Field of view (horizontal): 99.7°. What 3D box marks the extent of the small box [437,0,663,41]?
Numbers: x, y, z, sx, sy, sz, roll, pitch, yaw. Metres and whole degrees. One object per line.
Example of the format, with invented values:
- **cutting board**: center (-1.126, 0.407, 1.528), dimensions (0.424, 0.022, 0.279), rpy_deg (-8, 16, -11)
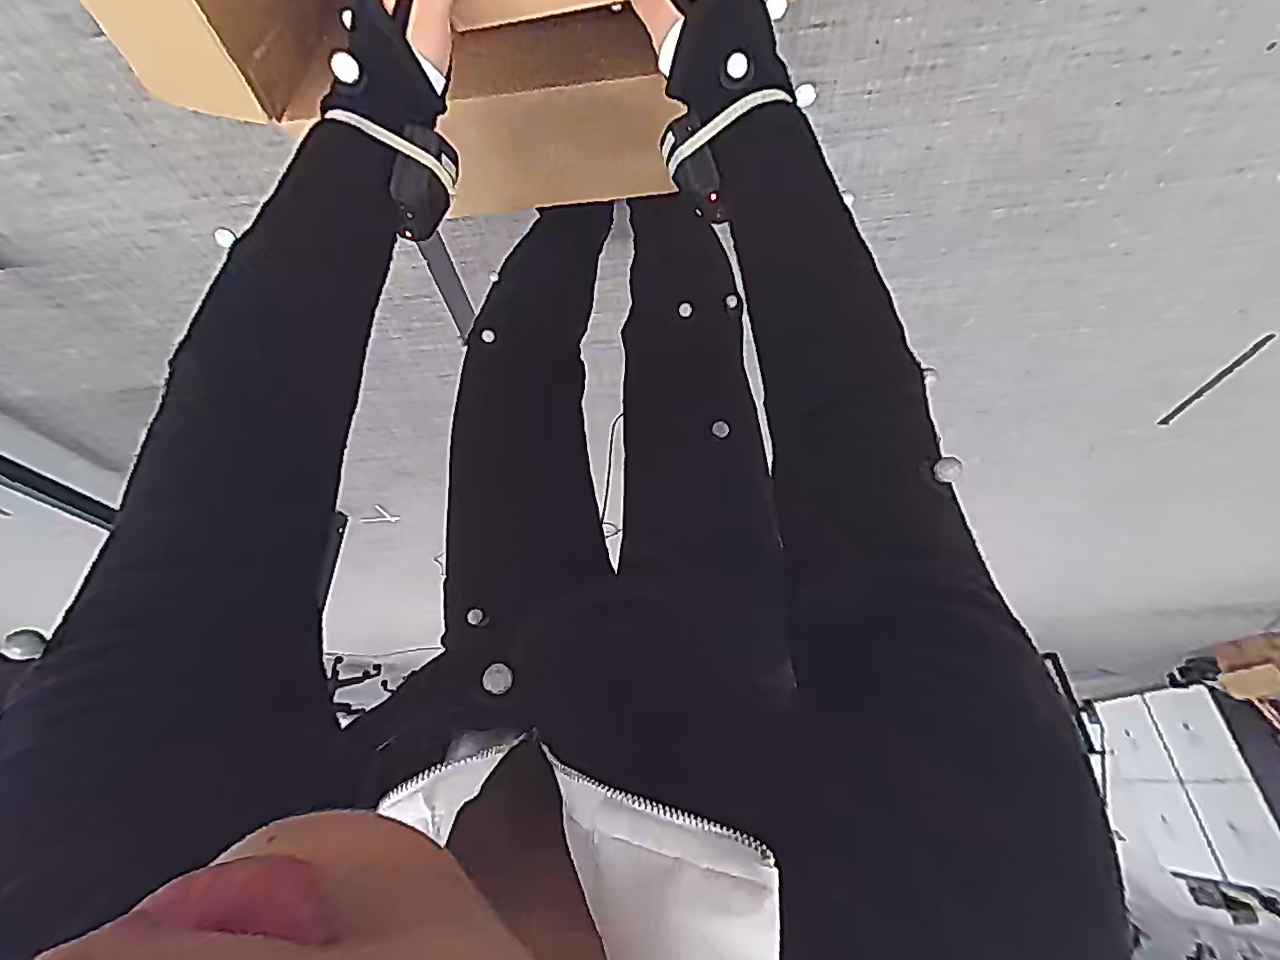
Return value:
- **small box**: center (-0.079, -0.468, 0.395), dimensions (0.179, 0.176, 0.168), rpy_deg (-5, 149, 6)
